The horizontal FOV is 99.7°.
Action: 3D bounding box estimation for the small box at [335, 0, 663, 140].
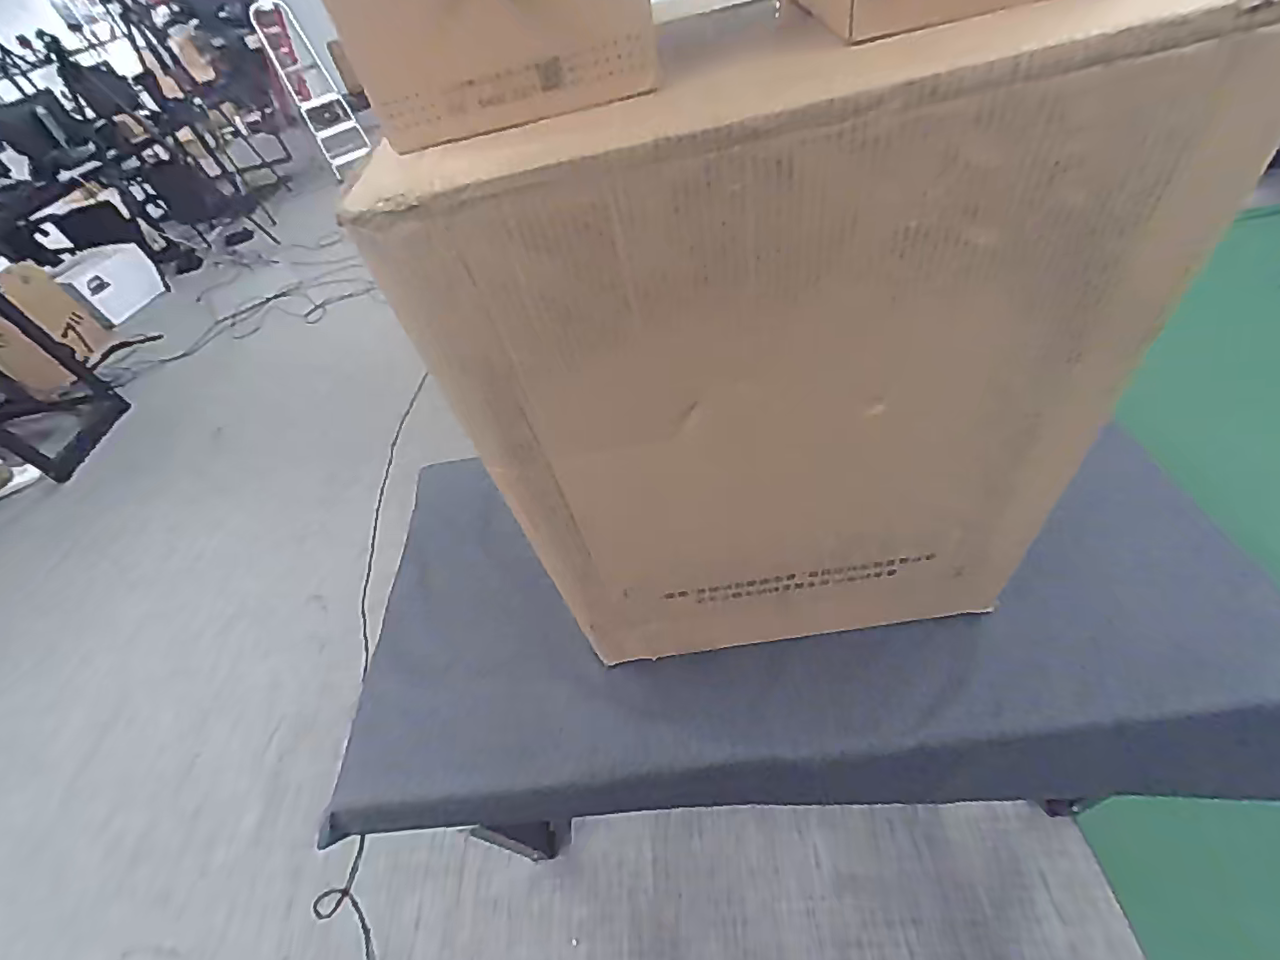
[{"bbox_3d":[-0.083,-0.323,0.314,0.168,0.176,0.179,-9,50,5],"label":"small box"}]
